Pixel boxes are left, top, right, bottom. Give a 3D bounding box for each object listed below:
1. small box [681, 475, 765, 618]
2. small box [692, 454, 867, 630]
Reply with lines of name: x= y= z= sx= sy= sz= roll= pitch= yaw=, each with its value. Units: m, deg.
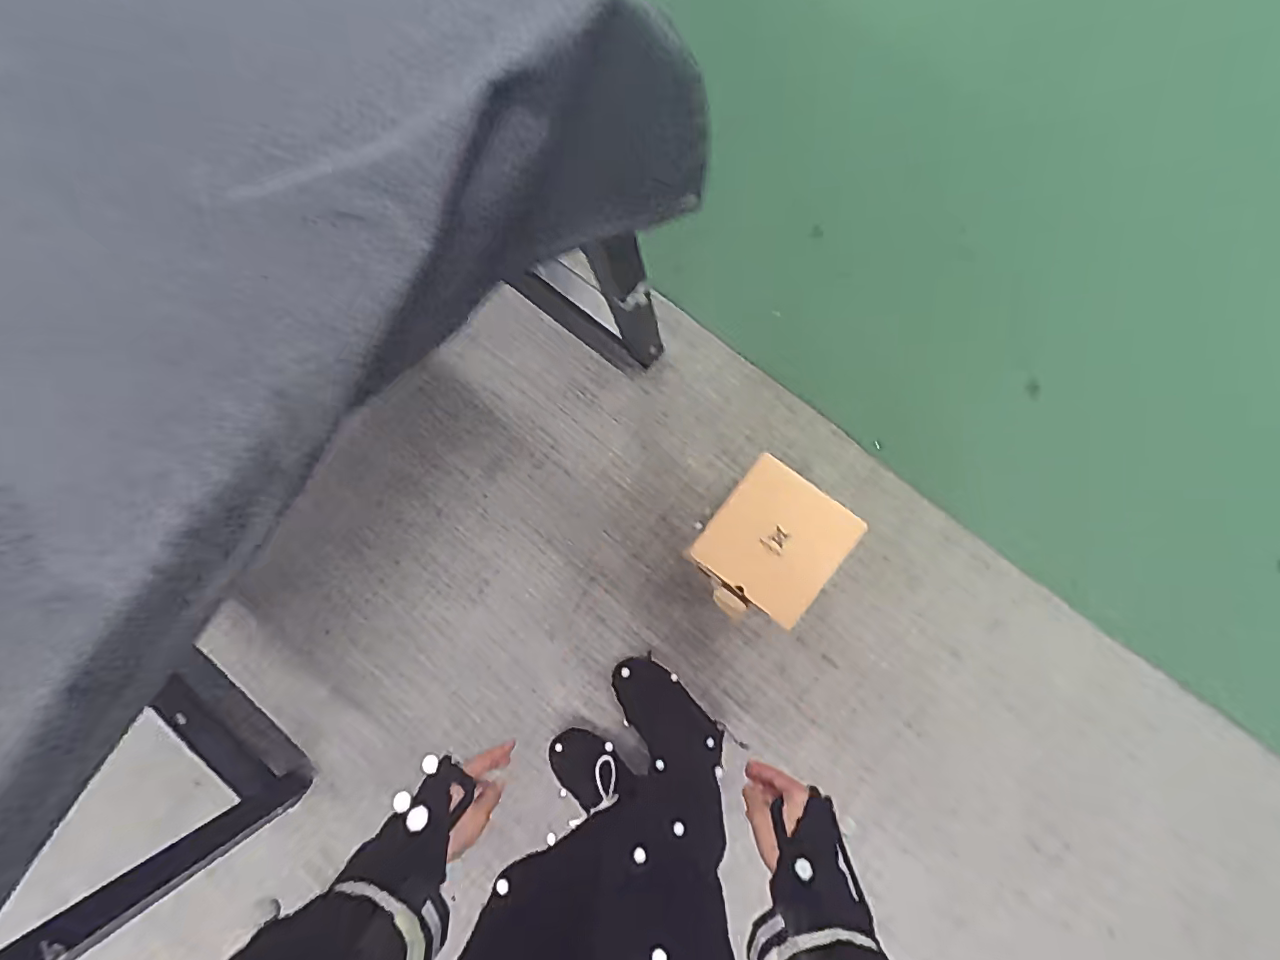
small box: x=0.193 y=0.113 z=0.950 sx=0.168 sy=0.176 sz=0.179 roll=38 pitch=90 yaw=9
small box: x=0.188 y=0.086 z=0.787 sx=0.168 sy=0.176 sz=0.179 roll=37 pitch=90 yaw=8
